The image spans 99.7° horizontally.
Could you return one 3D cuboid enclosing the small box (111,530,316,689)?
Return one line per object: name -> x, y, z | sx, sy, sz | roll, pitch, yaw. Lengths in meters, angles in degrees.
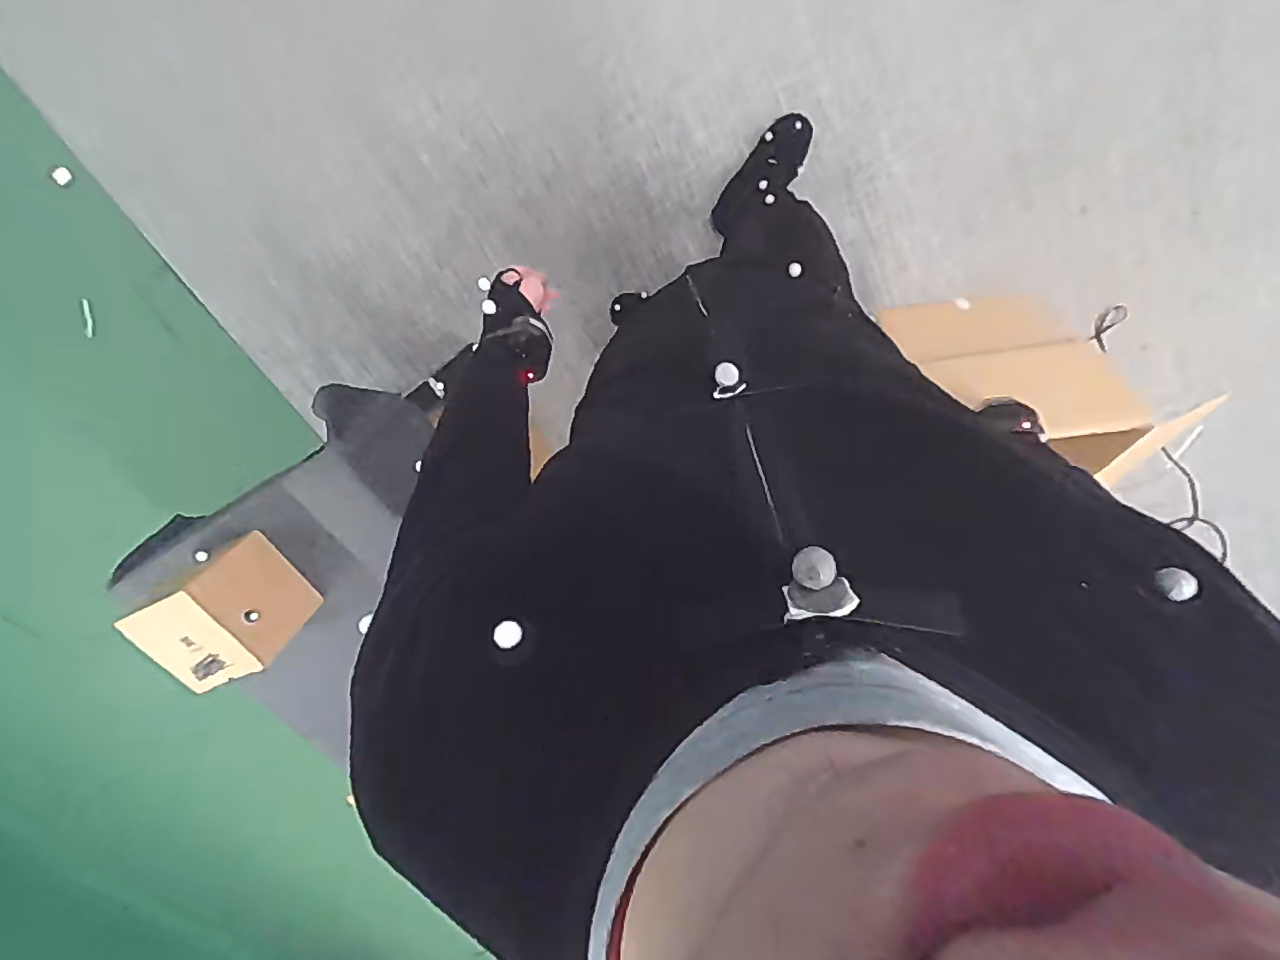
small box -> -0.707, 0.216, 0.922 | 0.168, 0.176, 0.179 | -22, 114, 15
